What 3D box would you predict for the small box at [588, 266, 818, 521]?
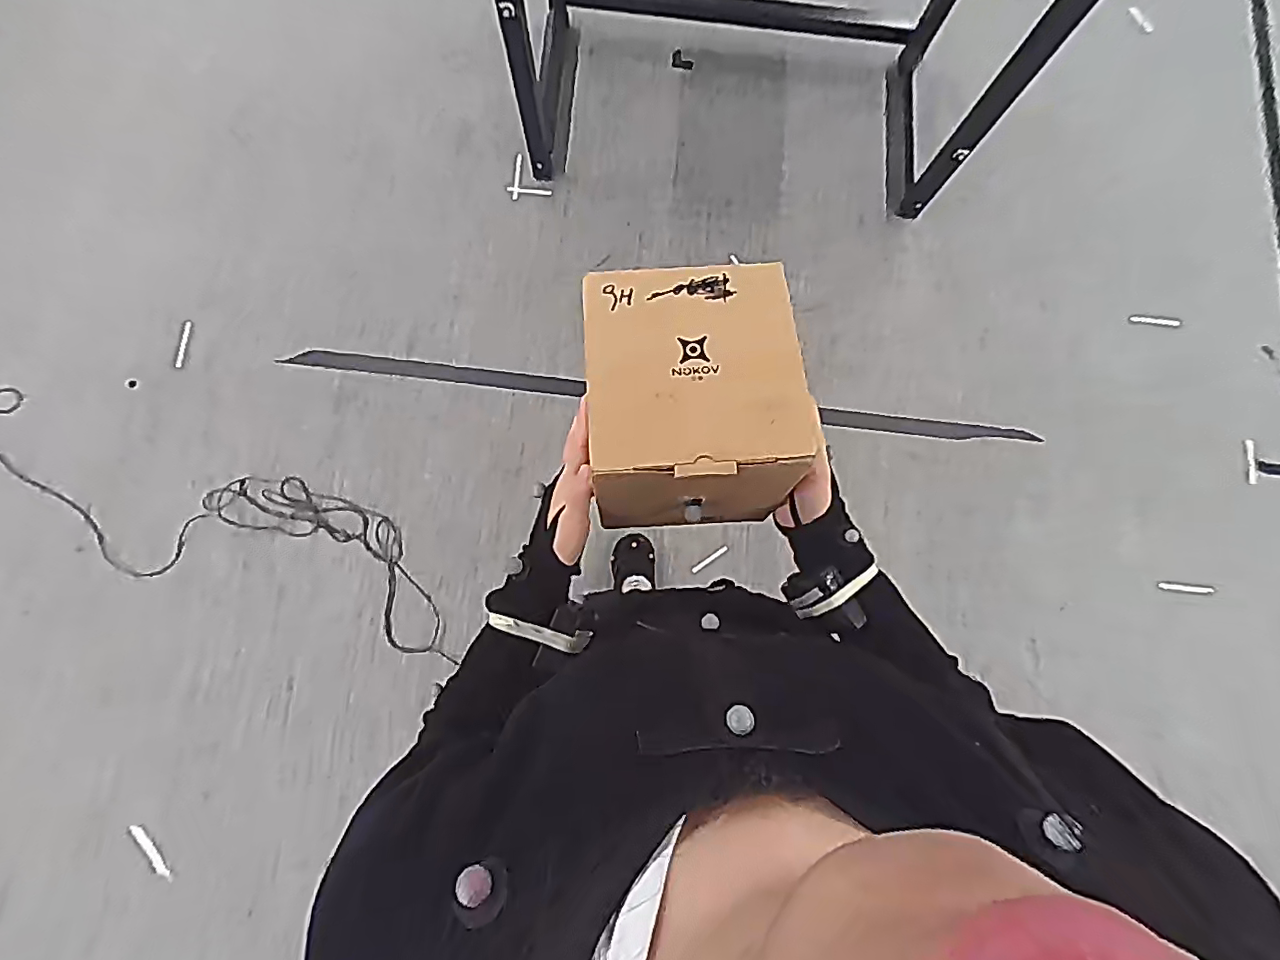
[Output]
[{"bbox_3d":[0.043,-0.063,0.487,0.168,0.176,0.179,-3,72,-2],"label":"small box"}]
